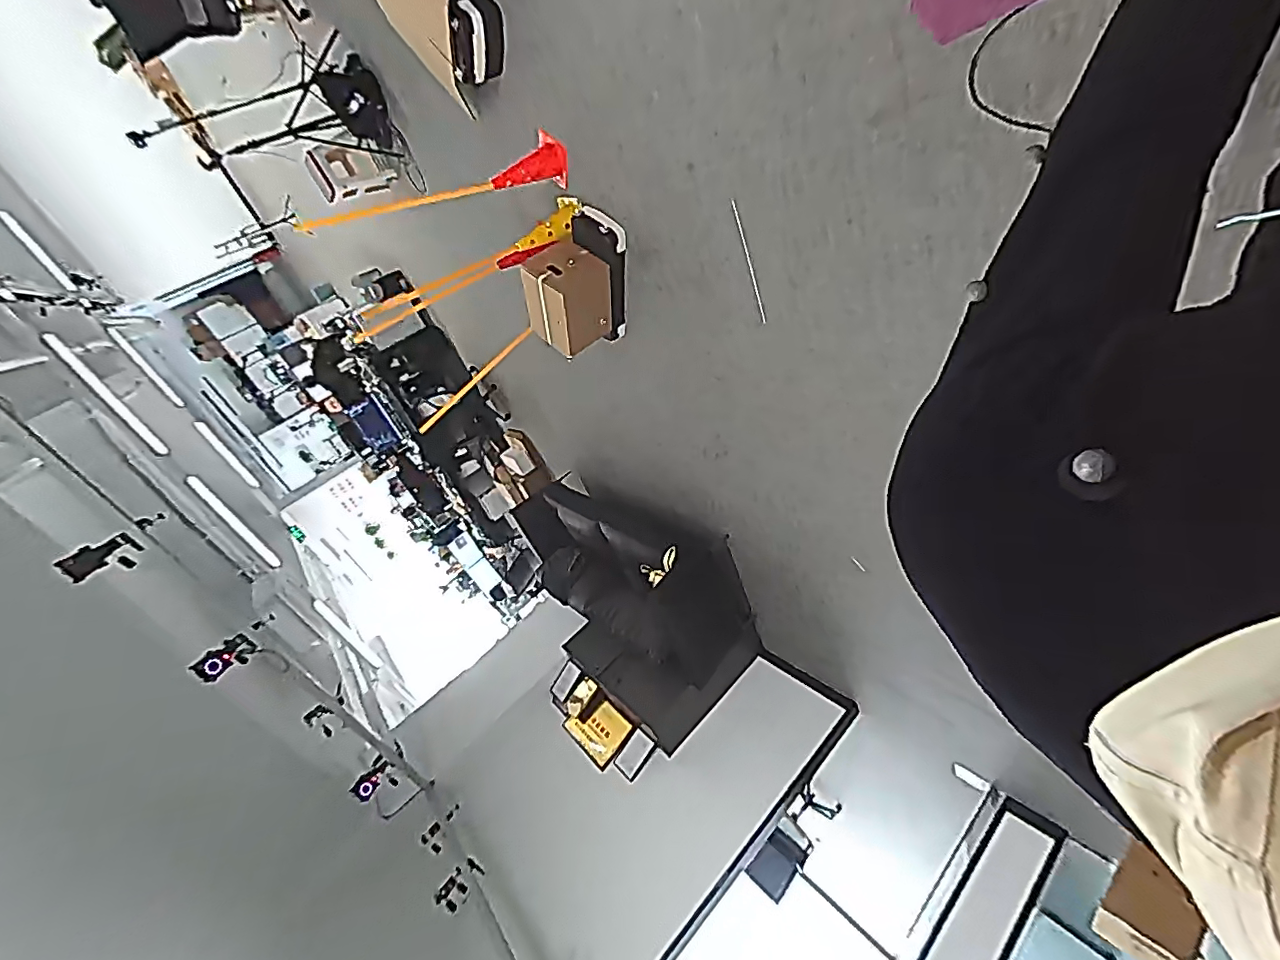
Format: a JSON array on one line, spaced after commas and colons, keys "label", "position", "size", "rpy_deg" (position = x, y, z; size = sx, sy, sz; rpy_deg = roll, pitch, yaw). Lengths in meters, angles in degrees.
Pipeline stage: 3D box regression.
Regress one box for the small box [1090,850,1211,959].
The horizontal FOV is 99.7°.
[{"label": "small box", "position": [1.225, 1.044, 1.300], "size": [0.168, 0.176, 0.179], "rpy_deg": [24, 146, 49]}]
